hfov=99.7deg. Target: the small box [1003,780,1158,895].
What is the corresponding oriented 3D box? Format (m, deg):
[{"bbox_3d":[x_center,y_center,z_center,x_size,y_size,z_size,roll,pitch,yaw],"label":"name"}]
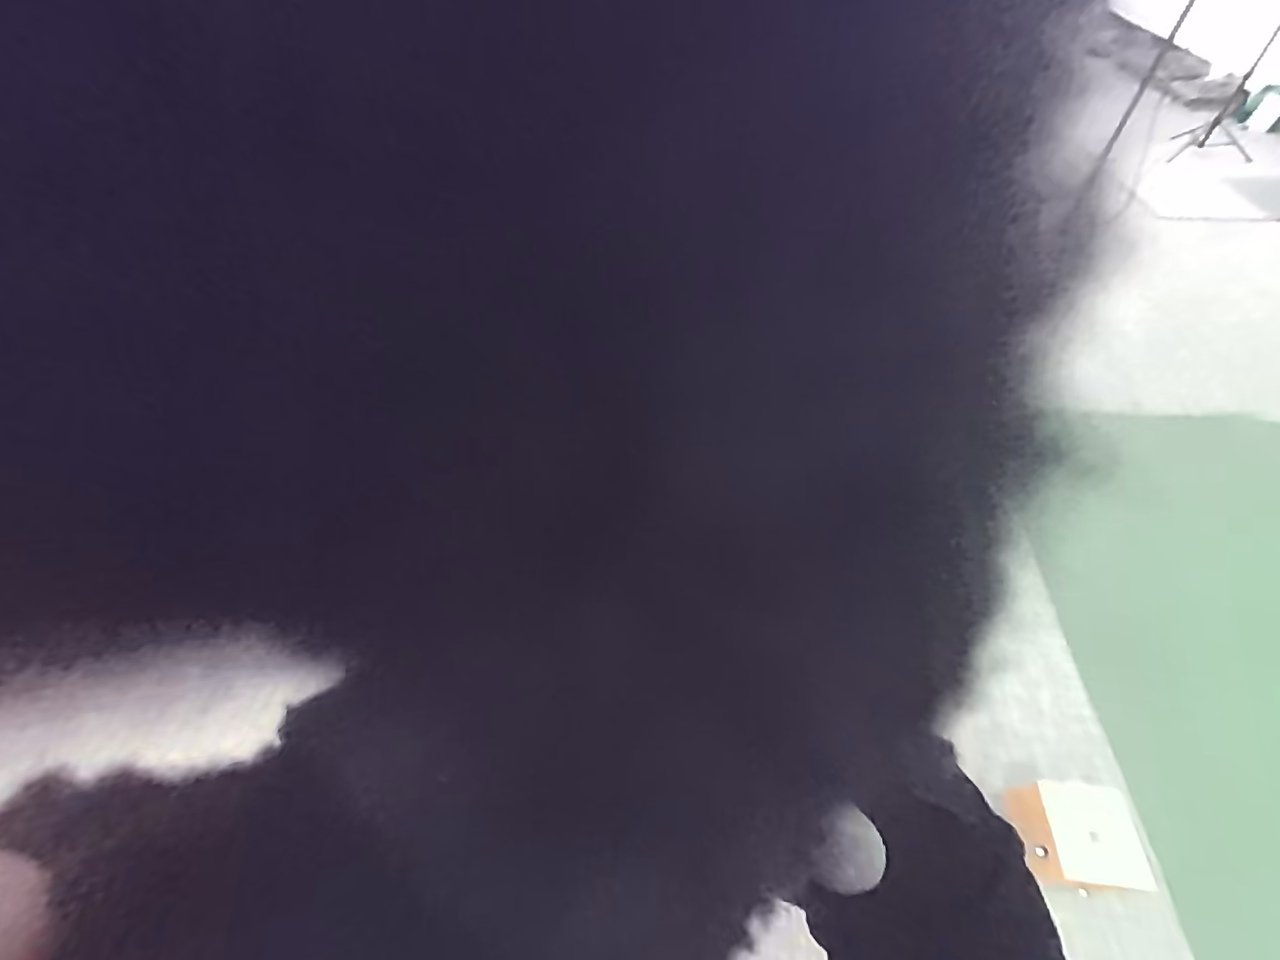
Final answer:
[{"bbox_3d":[0.910,0.755,1.138,0.168,0.176,0.179,5,51,5],"label":"small box"}]
